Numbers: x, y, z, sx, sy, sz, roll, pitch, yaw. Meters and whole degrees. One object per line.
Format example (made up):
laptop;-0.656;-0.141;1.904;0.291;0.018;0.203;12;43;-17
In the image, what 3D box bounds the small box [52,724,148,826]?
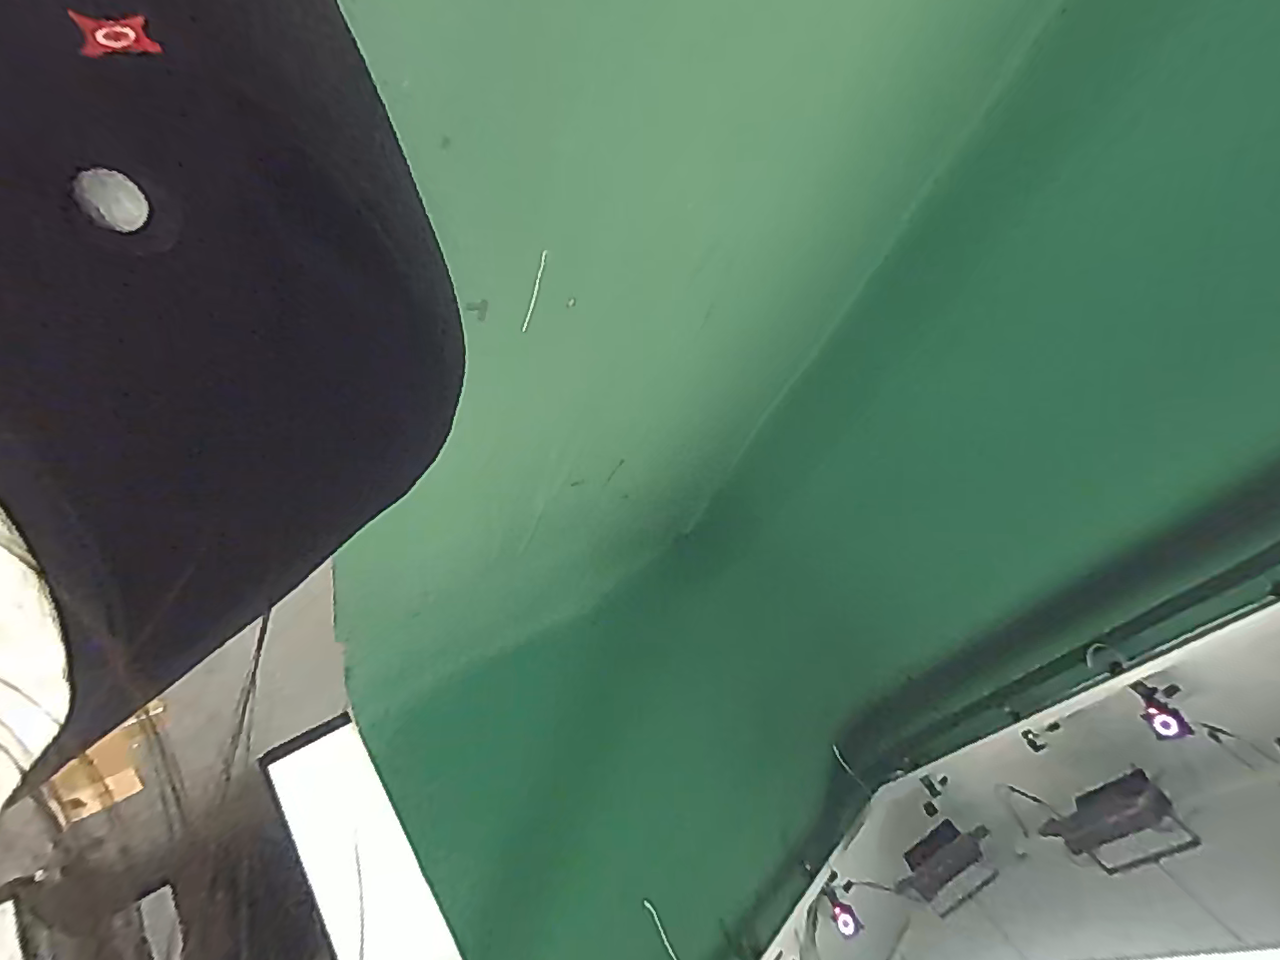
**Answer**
small box;-1.607;0.870;1.607;0.179;0.176;0.168;-16;142;-46
